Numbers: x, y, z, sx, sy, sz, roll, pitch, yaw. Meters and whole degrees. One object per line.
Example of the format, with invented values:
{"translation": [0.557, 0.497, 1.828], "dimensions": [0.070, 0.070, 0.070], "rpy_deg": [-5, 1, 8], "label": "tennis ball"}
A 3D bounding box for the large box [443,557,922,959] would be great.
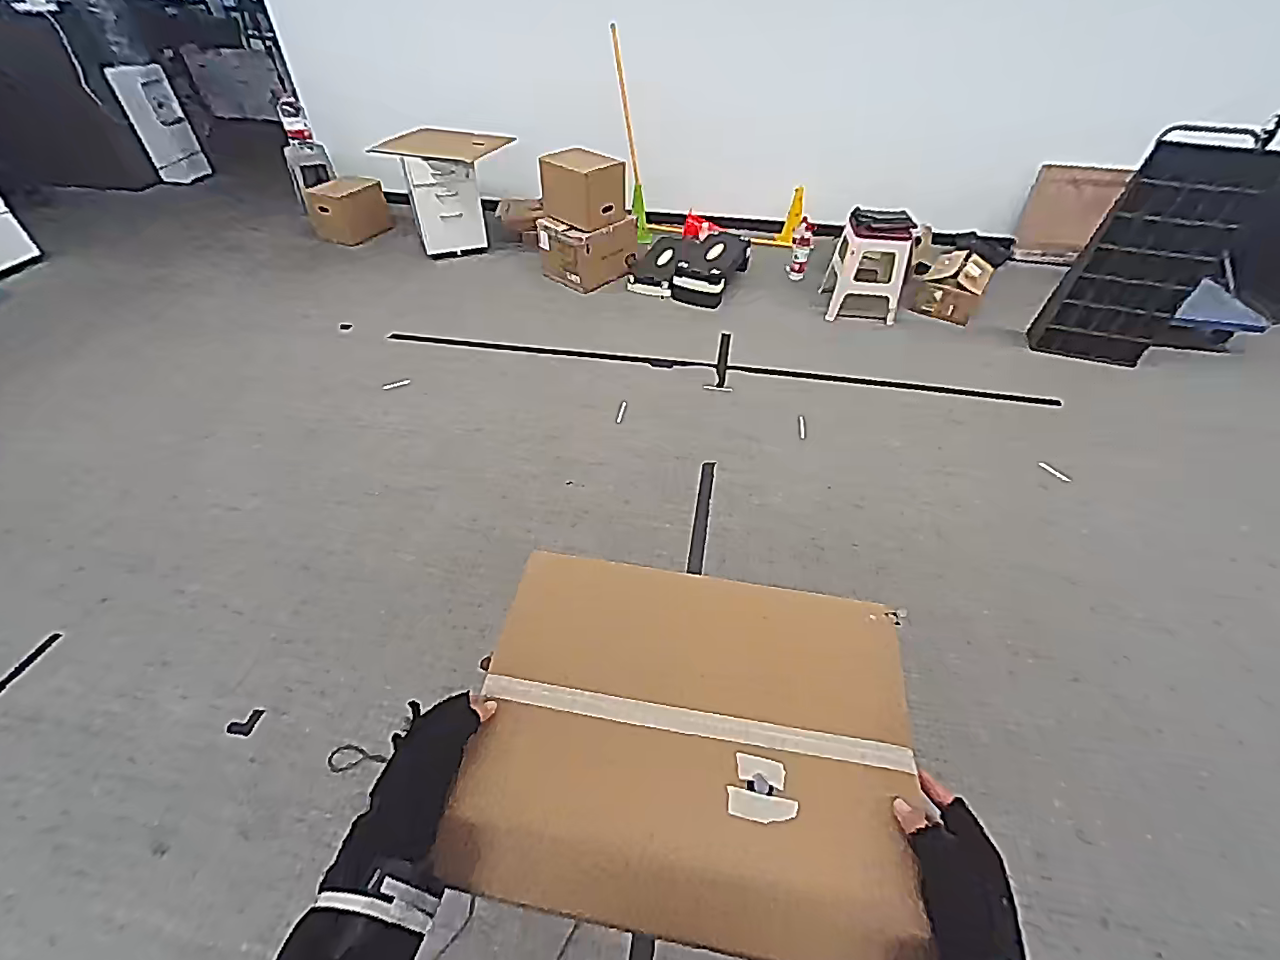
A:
{"translation": [0.047, 0.326, 0.646], "dimensions": [0.408, 0.320, 0.320], "rpy_deg": [8, 52, 6], "label": "large box"}
